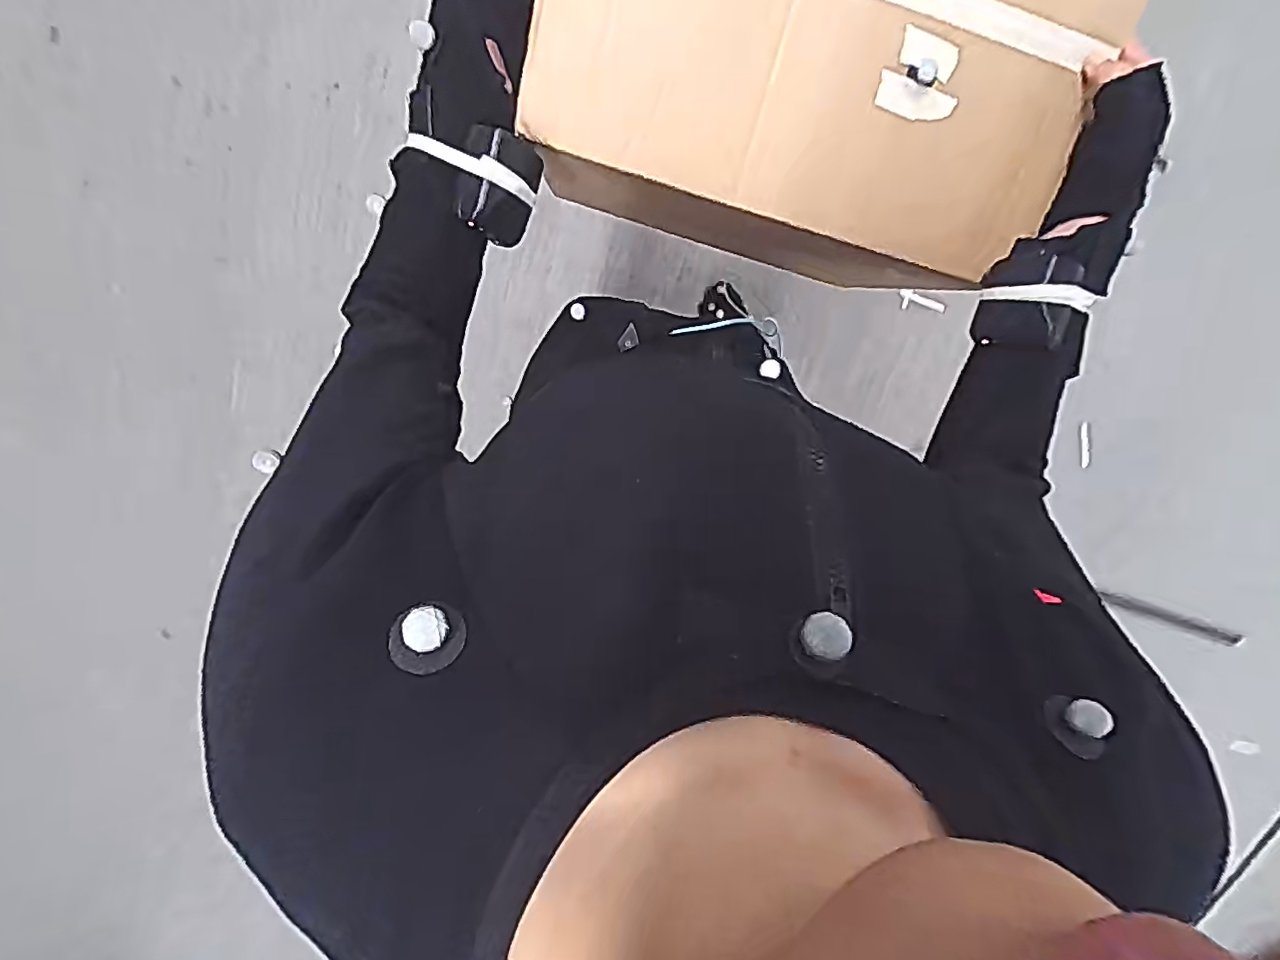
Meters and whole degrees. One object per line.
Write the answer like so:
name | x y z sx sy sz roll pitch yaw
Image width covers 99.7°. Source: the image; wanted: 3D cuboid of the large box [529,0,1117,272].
large box | 0.129 -0.404 0.512 0.408 0.320 0.320 11 110 -9
